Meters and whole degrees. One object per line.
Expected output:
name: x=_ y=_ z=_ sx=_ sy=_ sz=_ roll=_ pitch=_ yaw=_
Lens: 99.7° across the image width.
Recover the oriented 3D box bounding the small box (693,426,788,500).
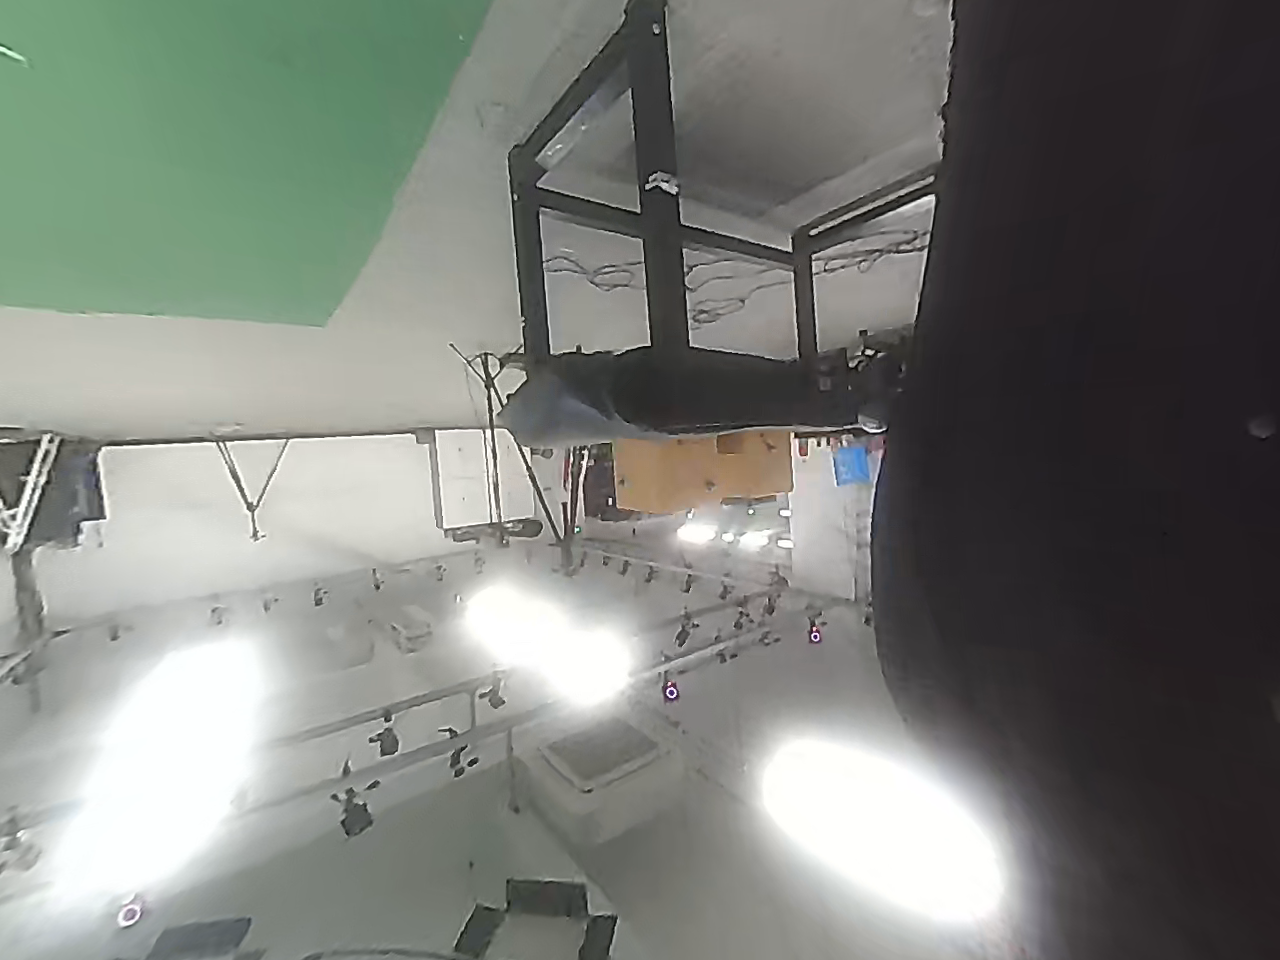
small box: x=0.246 y=-0.044 z=1.343 sx=0.168 sy=0.176 sz=0.179 roll=-7 pitch=-176 yaw=-36
